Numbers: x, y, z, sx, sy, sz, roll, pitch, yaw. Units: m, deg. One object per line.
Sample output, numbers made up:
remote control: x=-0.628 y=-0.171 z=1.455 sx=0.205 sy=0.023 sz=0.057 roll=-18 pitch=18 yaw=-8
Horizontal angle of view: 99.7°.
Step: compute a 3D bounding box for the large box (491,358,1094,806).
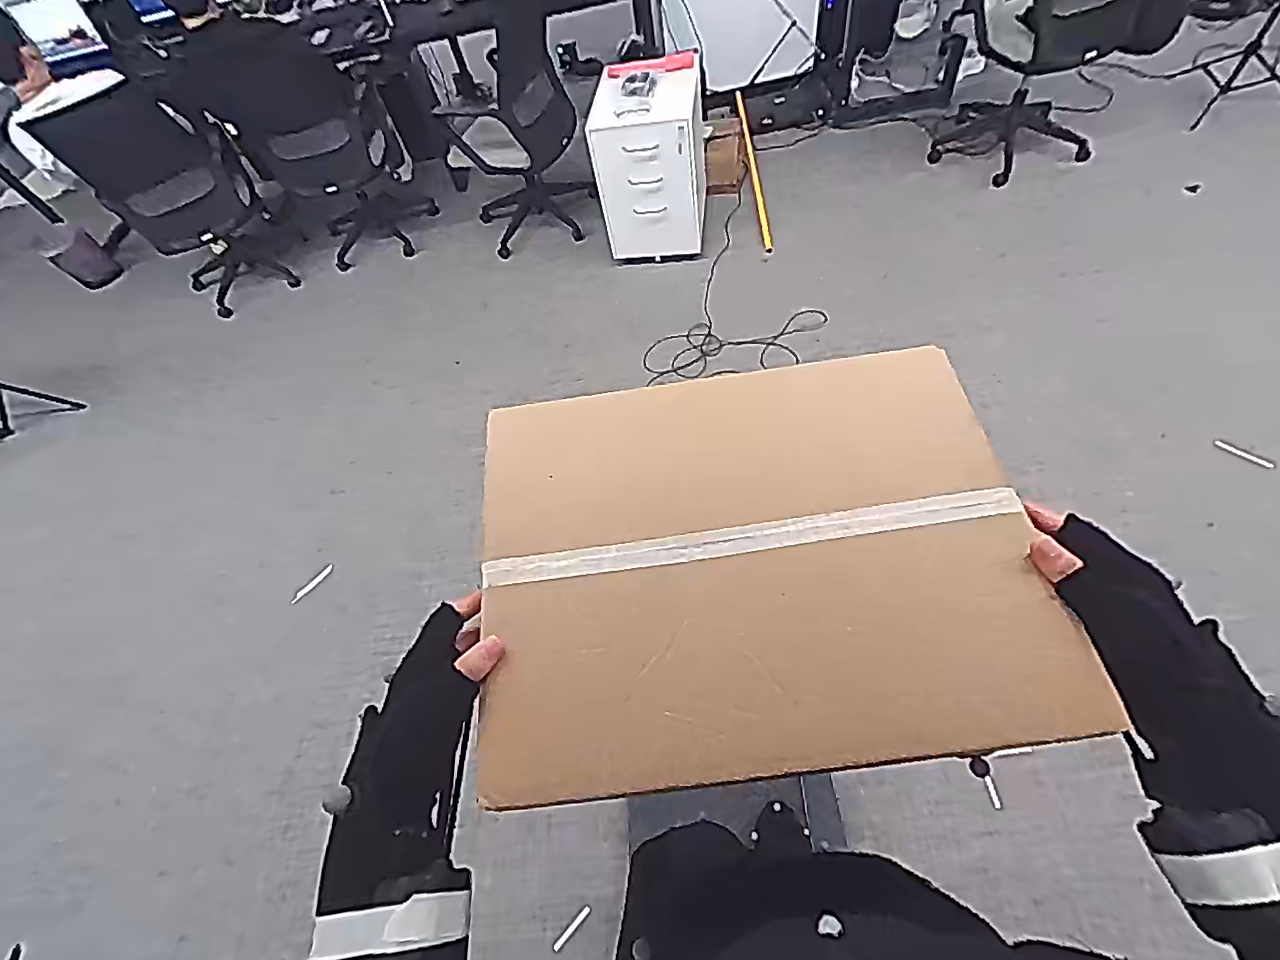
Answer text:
large box: x=0.095 y=0.119 z=0.550 sx=0.408 sy=0.320 sz=0.320 roll=-8 pitch=61 yaw=1
